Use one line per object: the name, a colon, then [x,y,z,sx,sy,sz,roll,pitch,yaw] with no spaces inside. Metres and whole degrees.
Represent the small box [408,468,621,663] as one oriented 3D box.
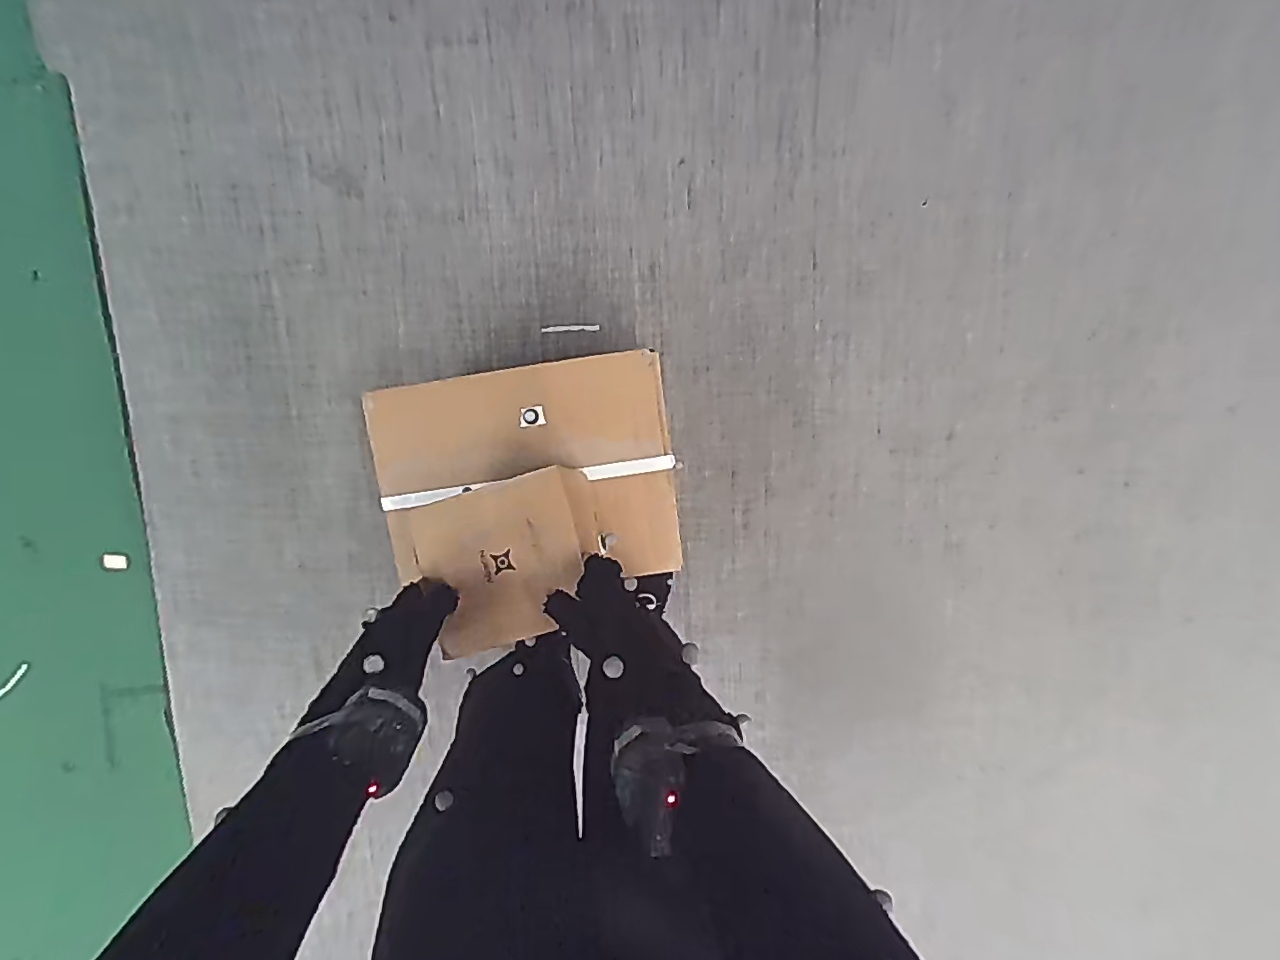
small box: [-0.135,0.095,0.637,0.179,0.176,0.168,-18,85,3]
